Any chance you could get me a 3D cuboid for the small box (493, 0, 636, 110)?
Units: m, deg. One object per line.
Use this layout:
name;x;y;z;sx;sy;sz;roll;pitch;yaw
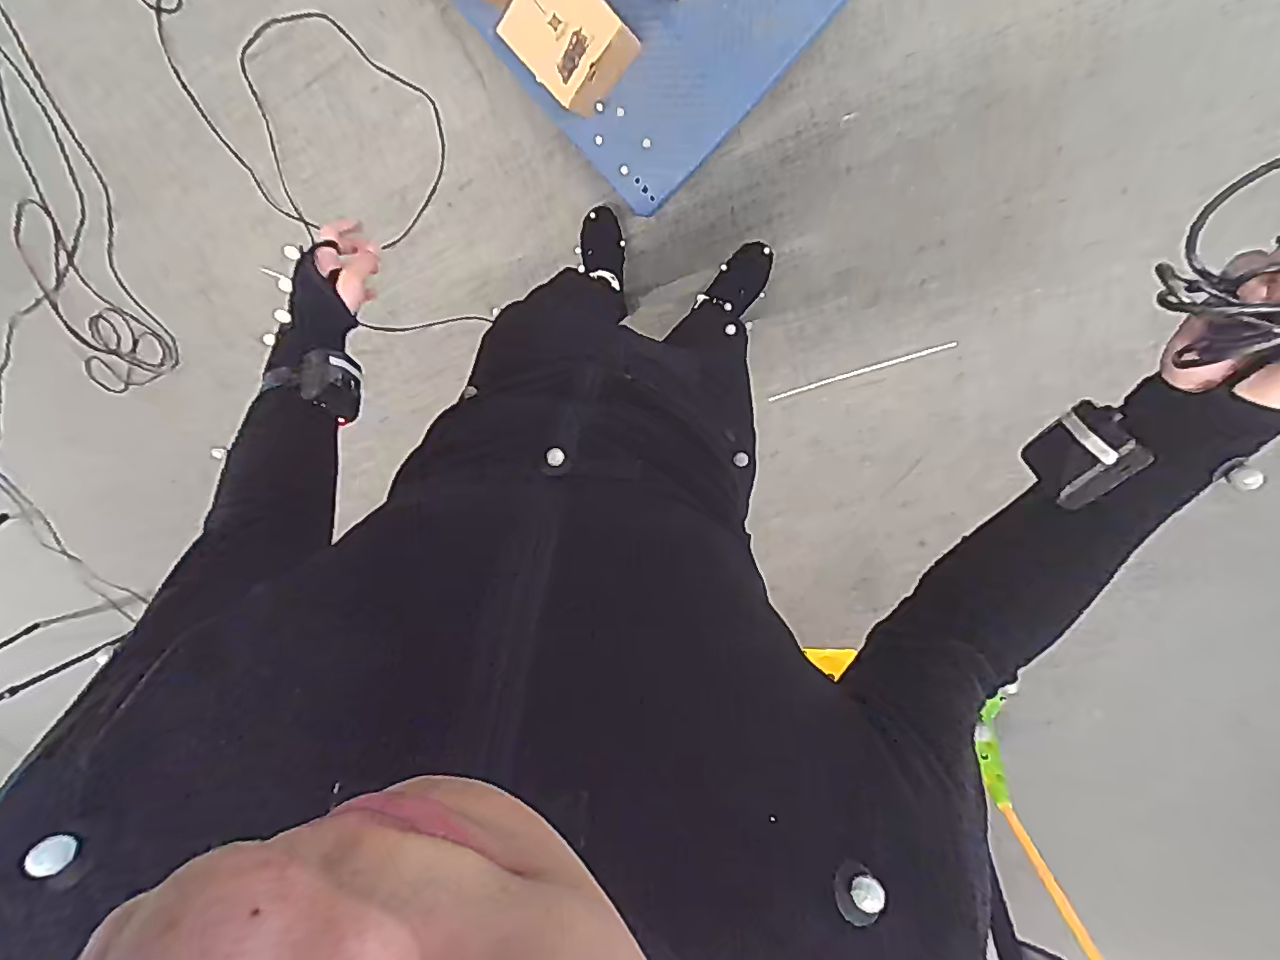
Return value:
small box;-0.131;-0.831;1.011;0.179;0.176;0.168;44;118;-11
